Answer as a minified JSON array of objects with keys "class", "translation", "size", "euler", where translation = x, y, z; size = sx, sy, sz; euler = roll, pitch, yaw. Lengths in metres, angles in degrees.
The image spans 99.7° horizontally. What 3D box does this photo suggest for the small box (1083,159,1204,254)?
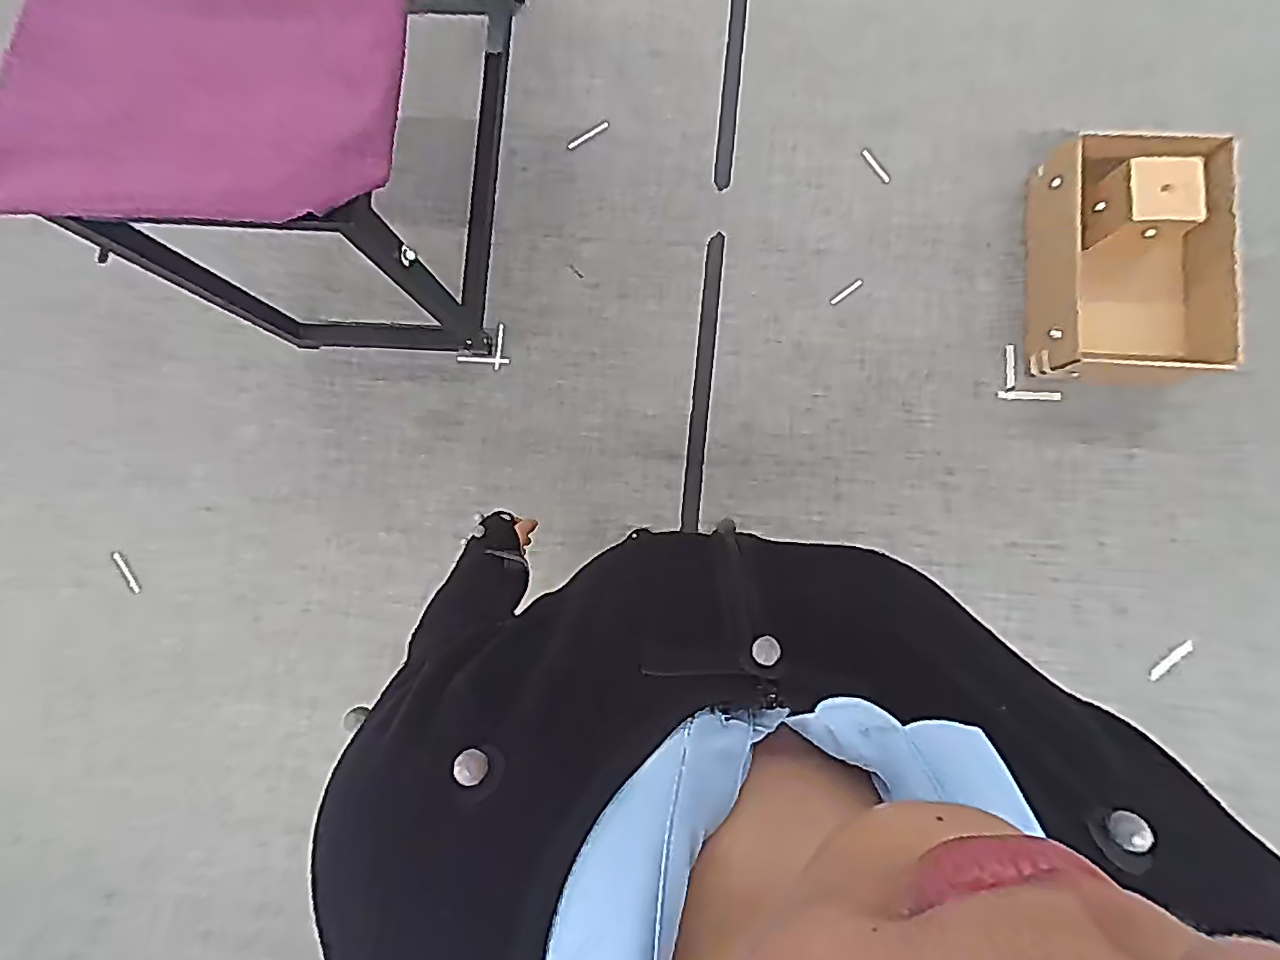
[{"class":"small box","translation":[1.311,-0.712,1.422],"size":[0.179,0.176,0.168],"euler":[2,86,2]}]
